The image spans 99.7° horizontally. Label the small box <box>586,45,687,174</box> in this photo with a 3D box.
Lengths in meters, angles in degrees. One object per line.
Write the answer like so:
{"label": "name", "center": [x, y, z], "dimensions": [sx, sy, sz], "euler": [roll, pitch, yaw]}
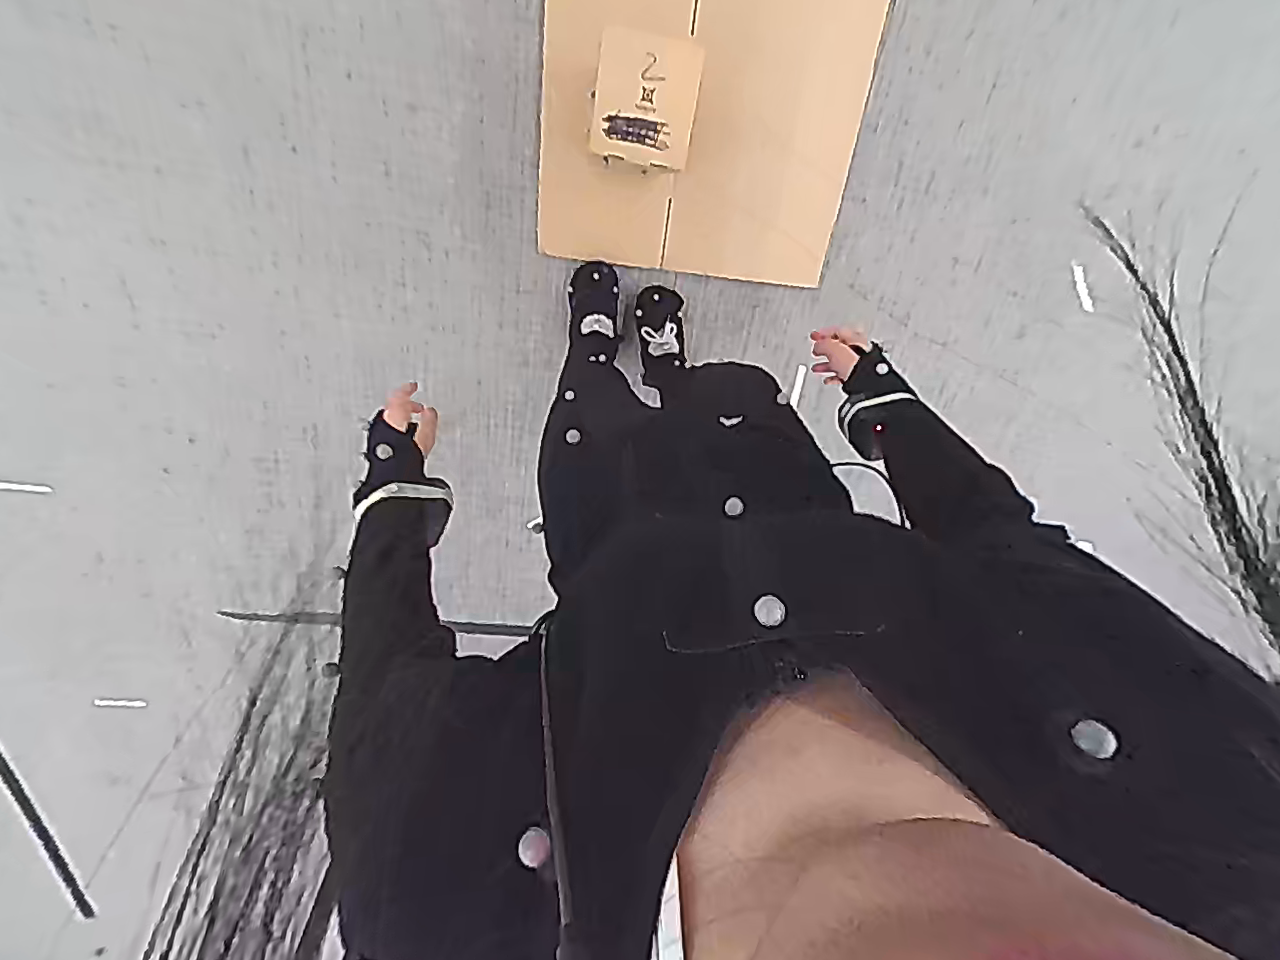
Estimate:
{"label": "small box", "center": [-0.015, -0.730, 1.089], "dimensions": [0.168, 0.176, 0.179], "euler": [7, 116, -11]}
